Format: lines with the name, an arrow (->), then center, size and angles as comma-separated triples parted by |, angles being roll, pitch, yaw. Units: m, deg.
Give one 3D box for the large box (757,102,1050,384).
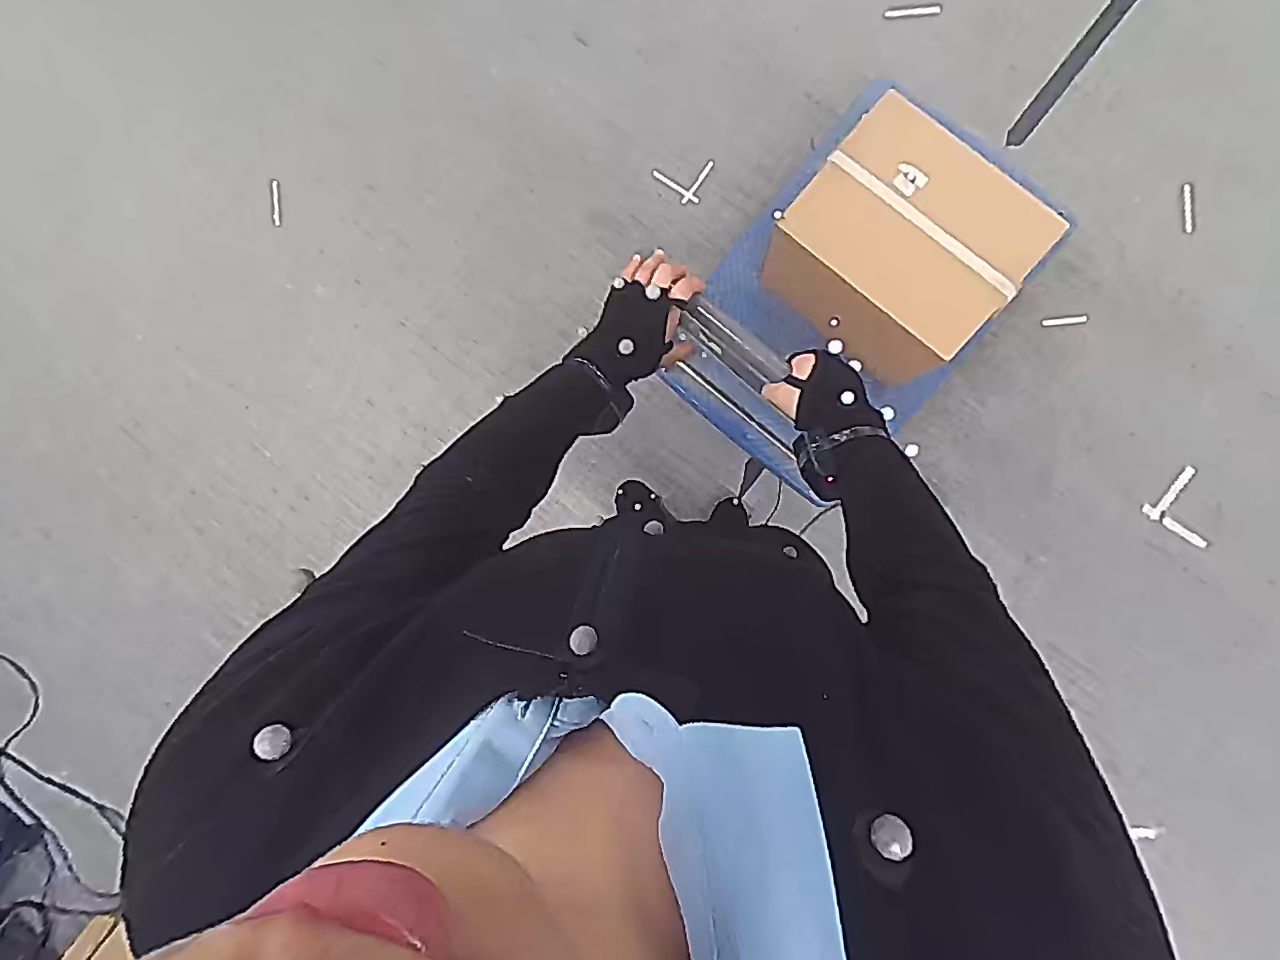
large box -> 0.508, -0.462, 1.142 | 0.408, 0.320, 0.320 | 41, 93, 6
